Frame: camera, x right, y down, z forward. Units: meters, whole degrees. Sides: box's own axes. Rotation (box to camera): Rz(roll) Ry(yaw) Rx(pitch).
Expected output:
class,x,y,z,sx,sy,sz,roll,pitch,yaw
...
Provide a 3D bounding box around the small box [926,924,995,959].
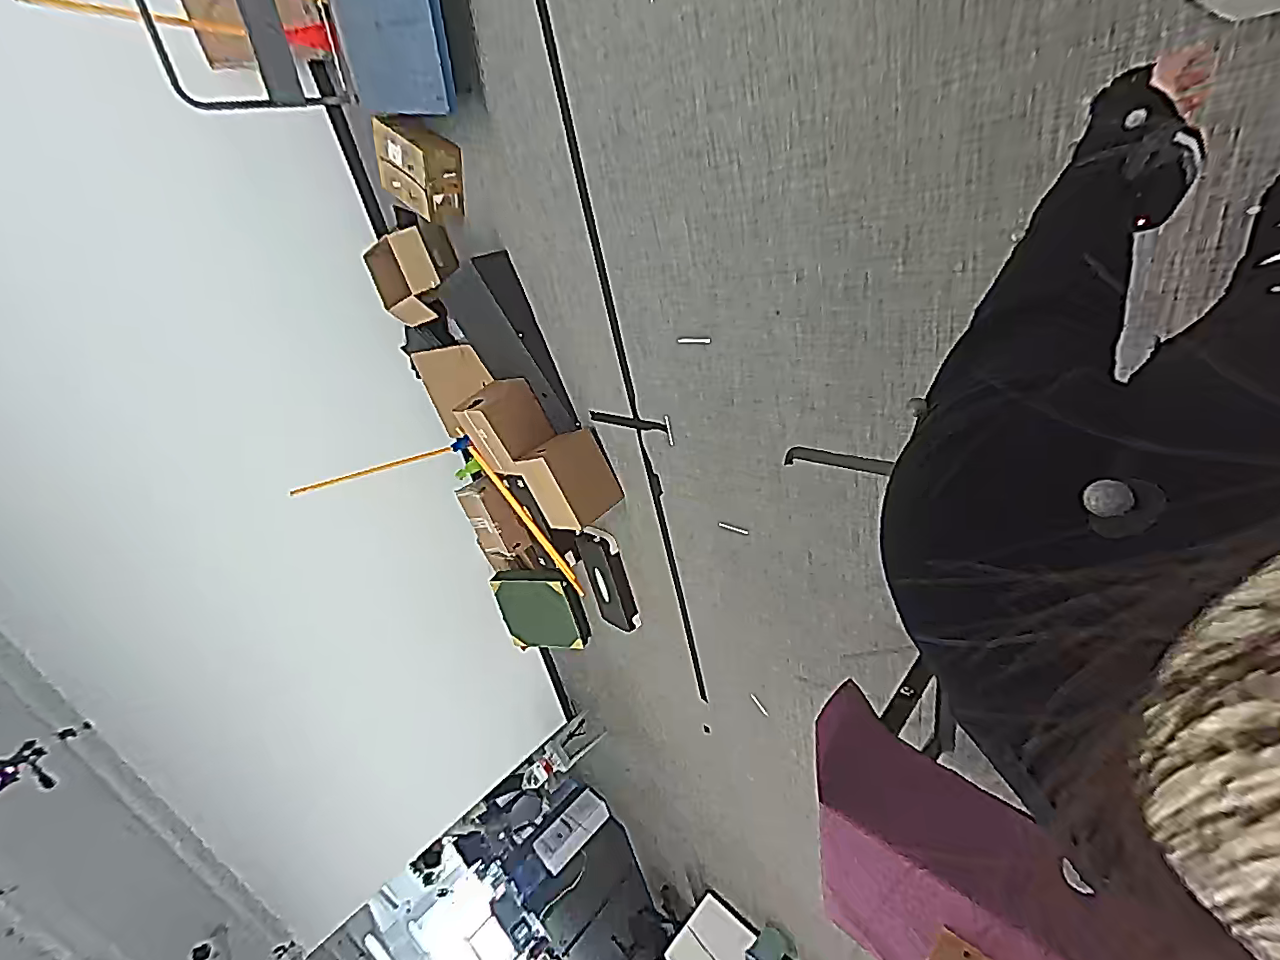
class,x,y,z,sx,sy,sz,roll,pitch,yaw
small box,0.720,1.148,1.194,0.168,0.176,0.179,16,129,45
